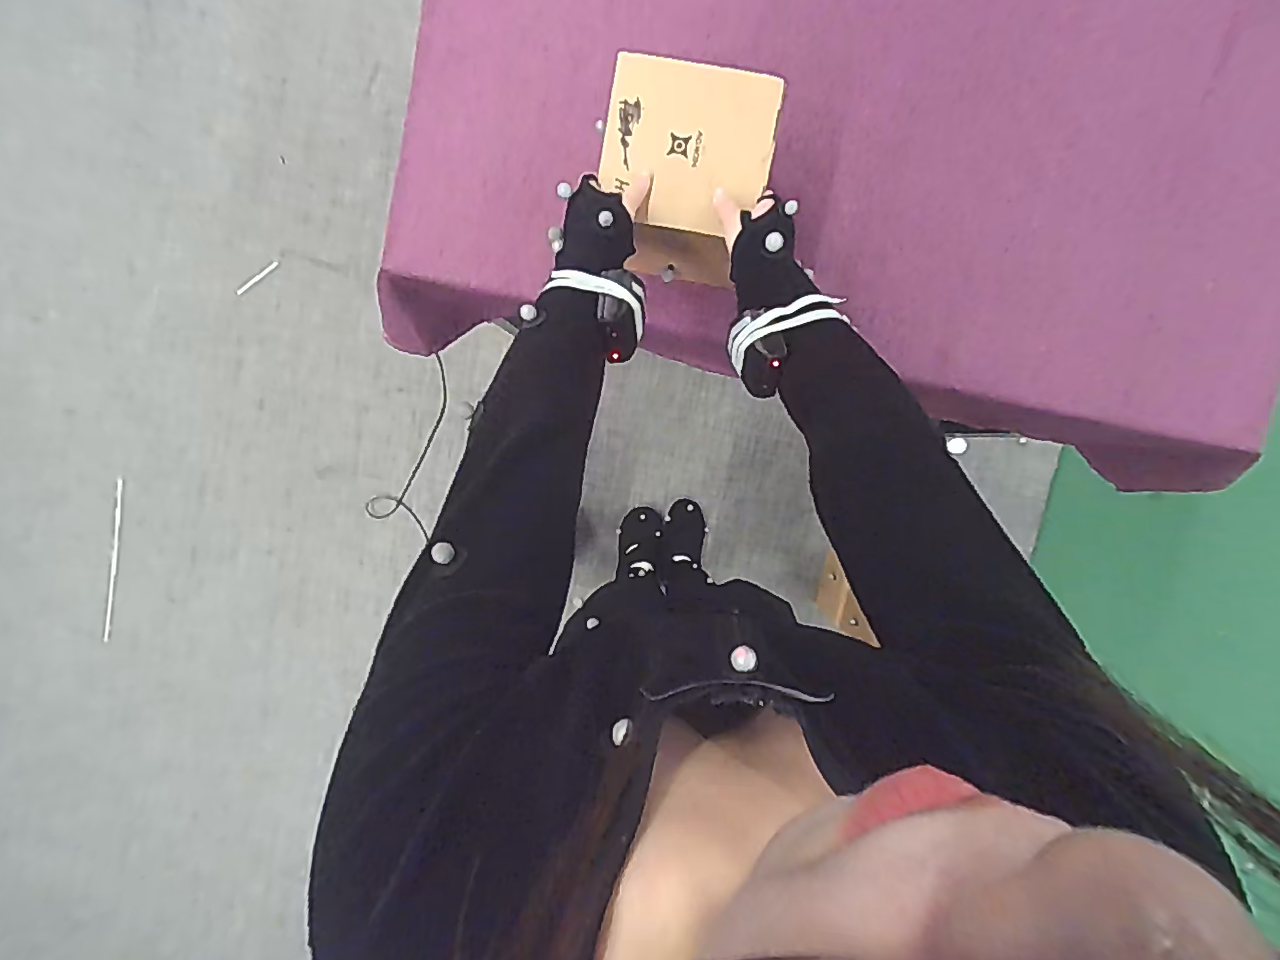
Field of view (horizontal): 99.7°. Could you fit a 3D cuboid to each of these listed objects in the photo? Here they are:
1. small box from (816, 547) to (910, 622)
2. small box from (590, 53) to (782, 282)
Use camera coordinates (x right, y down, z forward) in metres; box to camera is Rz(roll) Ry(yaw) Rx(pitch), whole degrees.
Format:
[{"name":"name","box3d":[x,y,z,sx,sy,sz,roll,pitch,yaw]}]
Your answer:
[{"name":"small box","box3d":[0.579,0.278,1.414,0.179,0.176,0.168,10,96,0]},{"name":"small box","box3d":[0.047,-0.347,0.638,0.179,0.176,0.168,10,94,0]}]
